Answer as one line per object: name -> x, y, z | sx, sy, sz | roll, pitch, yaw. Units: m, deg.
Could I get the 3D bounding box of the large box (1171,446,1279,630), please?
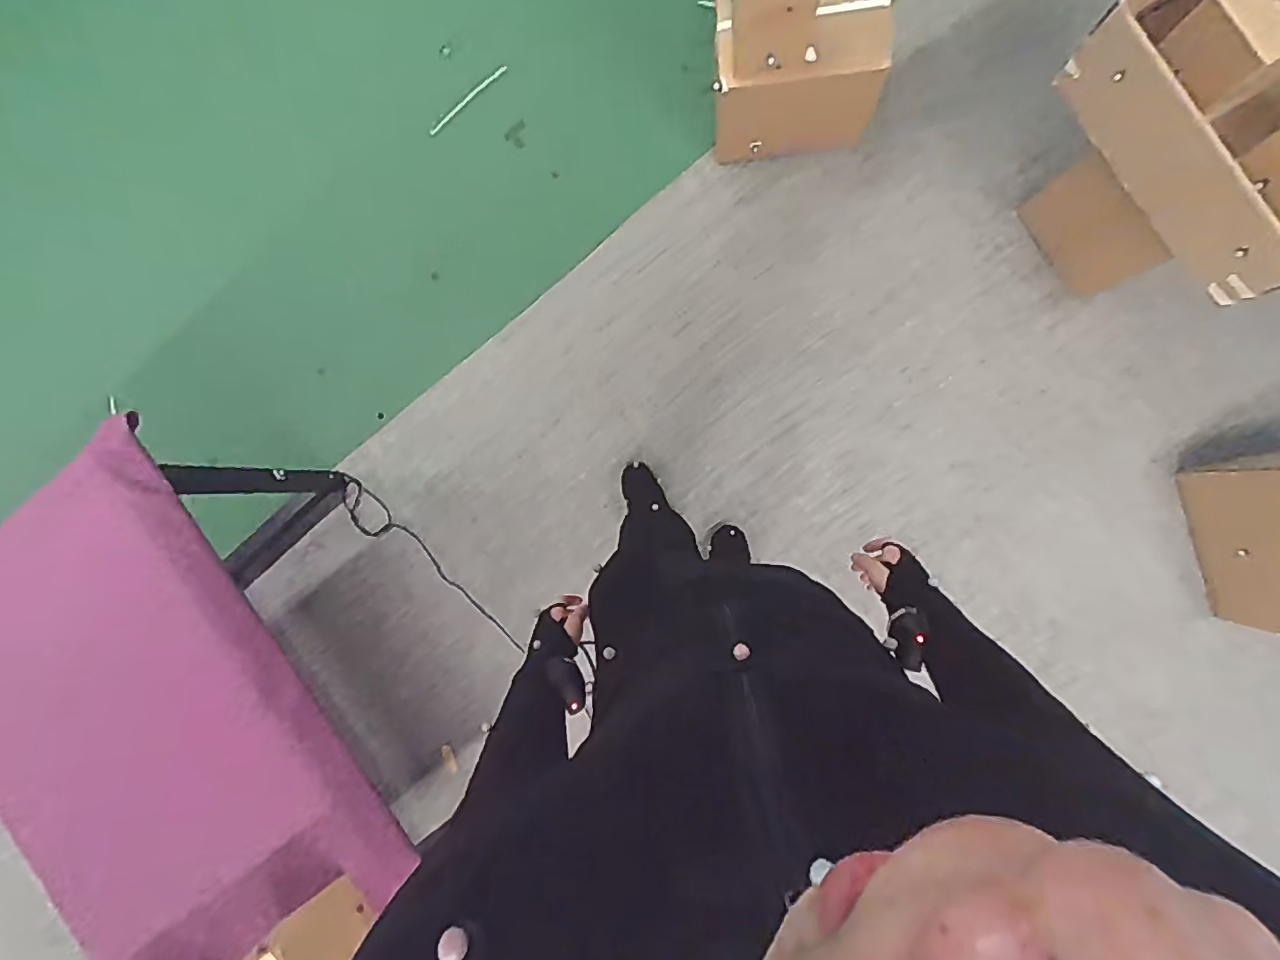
large box -> 1.605, 0.127, 1.285 | 0.320, 0.320, 0.408 | -14, 86, 6

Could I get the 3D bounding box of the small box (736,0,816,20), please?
small box -> 0.270, -1.056, 1.050 | 0.168, 0.176, 0.179 | -3, 89, 6

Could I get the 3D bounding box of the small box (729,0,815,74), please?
small box -> 0.289, -1.065, 1.213 | 0.168, 0.176, 0.179 | -3, 90, 7

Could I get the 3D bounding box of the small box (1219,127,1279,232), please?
small box -> 1.251, -0.597, 0.986 | 0.179, 0.176, 0.168 | -30, 86, 7

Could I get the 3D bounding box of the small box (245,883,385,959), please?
small box -> -0.545, 0.809, 0.868 | 0.179, 0.176, 0.168 | -39, 85, 6
